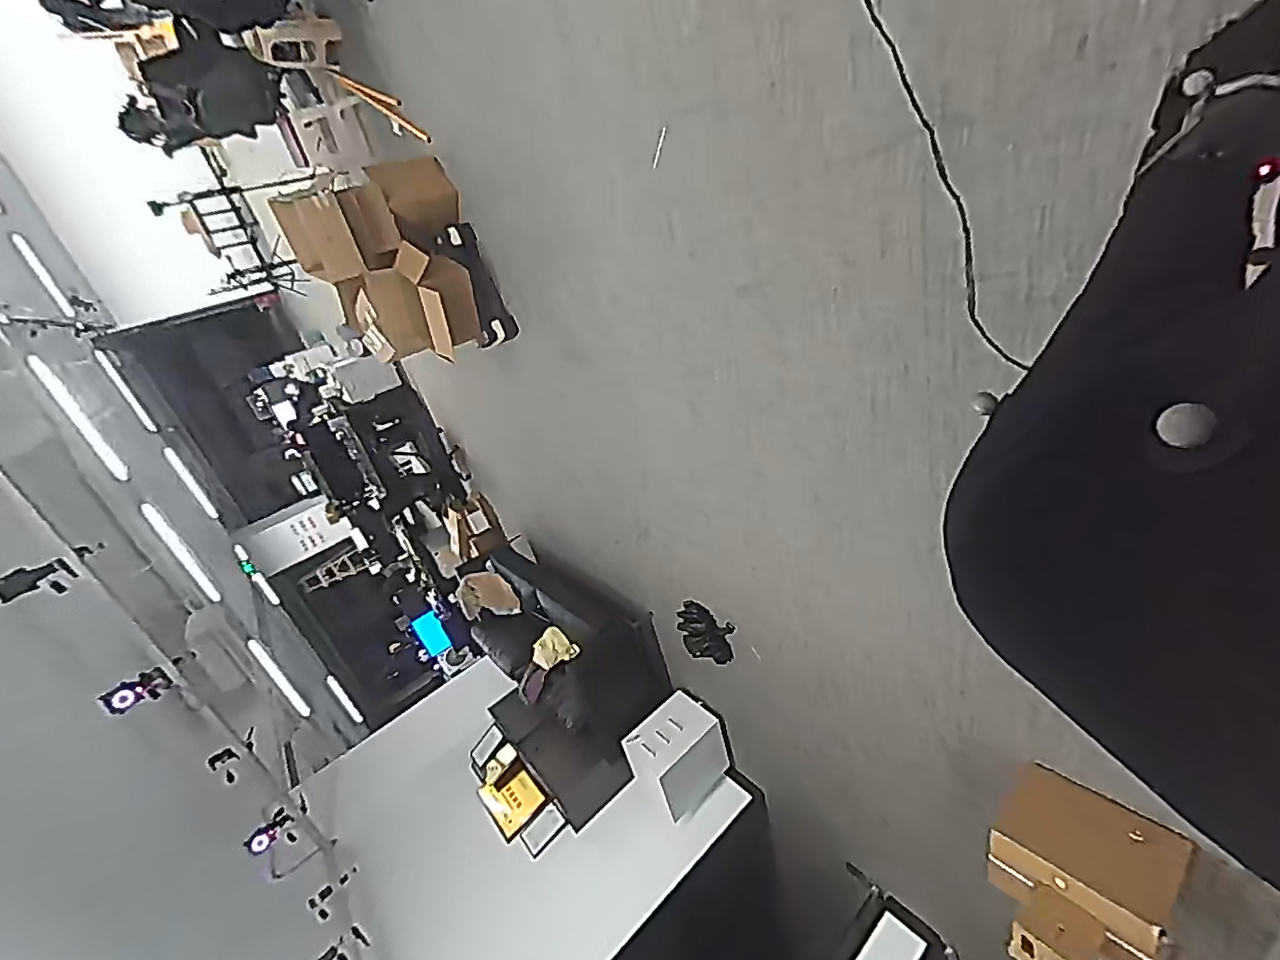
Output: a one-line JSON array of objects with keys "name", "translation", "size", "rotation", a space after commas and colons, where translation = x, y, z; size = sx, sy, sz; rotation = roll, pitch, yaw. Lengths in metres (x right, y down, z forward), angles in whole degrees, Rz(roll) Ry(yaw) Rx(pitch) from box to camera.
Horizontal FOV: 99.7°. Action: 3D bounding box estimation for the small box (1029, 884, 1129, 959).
[{"name": "small box", "translation": [1.261, 1.319, 1.558], "size": [0.179, 0.176, 0.168], "rotation": [17, 126, 53]}]
